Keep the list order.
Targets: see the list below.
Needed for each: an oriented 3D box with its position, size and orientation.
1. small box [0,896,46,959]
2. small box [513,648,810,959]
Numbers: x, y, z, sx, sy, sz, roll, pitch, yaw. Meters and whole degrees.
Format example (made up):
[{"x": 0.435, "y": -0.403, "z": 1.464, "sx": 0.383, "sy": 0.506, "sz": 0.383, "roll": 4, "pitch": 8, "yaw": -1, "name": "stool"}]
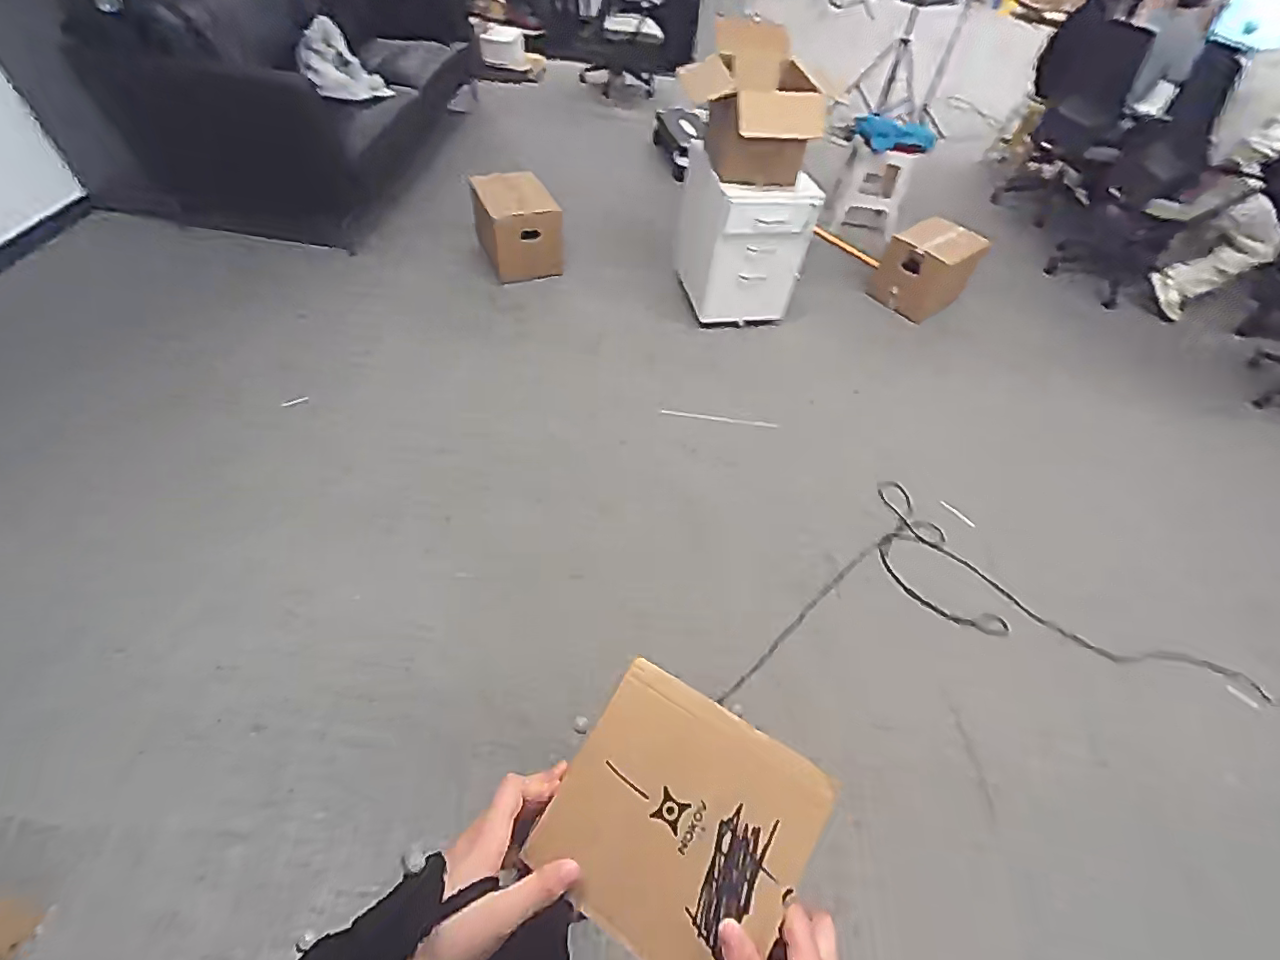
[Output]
[{"x": -1.253, "y": 0.843, "z": 0.956, "sx": 0.179, "sy": 0.176, "sz": 0.168, "roll": 12, "pitch": 51, "yaw": 3, "name": "small box"}, {"x": 0.016, "y": 0.273, "z": 0.484, "sx": 0.179, "sy": 0.176, "sz": 0.168, "roll": 30, "pitch": 69, "yaw": 9, "name": "small box"}]
